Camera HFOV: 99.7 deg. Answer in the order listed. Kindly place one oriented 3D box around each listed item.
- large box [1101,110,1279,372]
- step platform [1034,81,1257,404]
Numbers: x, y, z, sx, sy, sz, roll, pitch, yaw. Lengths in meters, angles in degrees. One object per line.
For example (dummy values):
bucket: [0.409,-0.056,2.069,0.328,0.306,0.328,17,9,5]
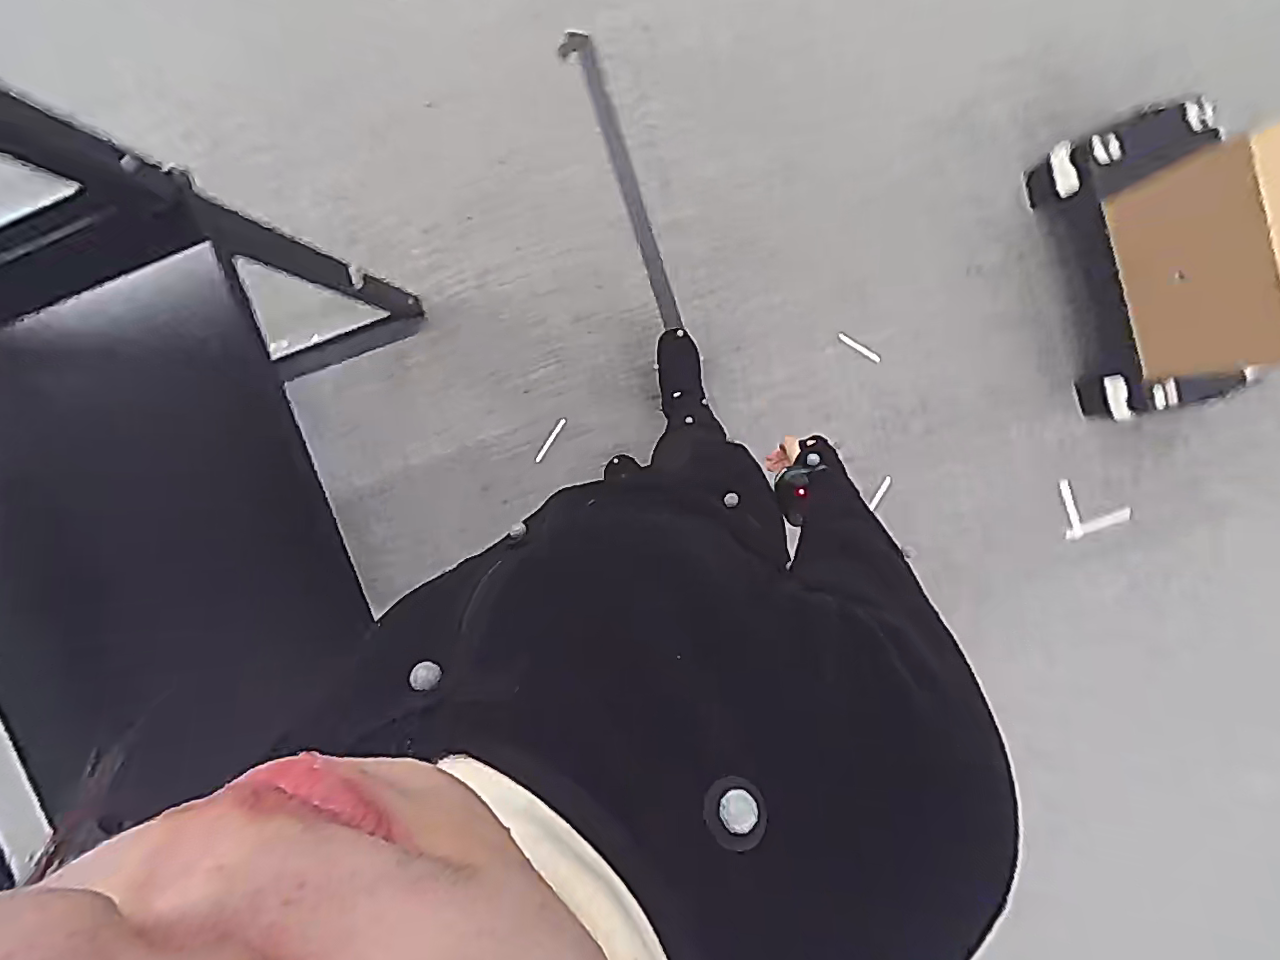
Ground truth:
large box: [1.204,-0.460,1.038,0.320,0.320,0.408,-19,94,4]
step platform: [1.181,-0.530,1.272,0.286,0.204,0.684,-13,94,4]
